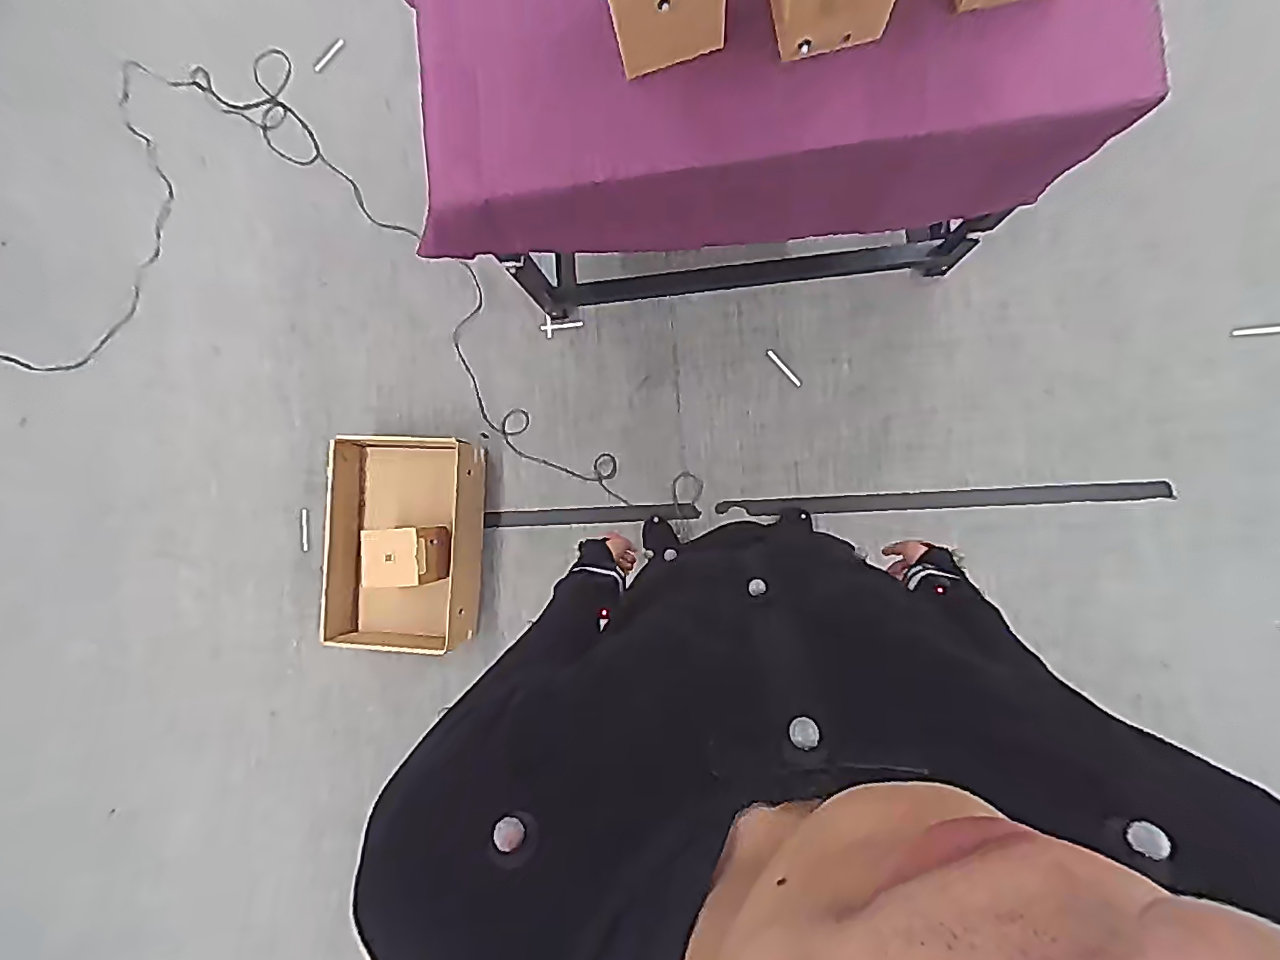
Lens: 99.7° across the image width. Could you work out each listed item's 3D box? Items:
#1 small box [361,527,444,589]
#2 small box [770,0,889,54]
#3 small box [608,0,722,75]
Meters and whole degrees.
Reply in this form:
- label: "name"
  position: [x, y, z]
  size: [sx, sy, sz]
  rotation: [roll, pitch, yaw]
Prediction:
- label: "small box"
  position: [-0.696, 0.228, 1.604]
  size: [0.179, 0.176, 0.168]
  rotation: [-3, 86, 7]
- label: "small box"
  position: [0.295, -0.804, 0.831]
  size: [0.168, 0.176, 0.179]
  rotation: [-9, 86, 6]
- label: "small box"
  position: [0.031, -0.801, 0.863]
  size: [0.179, 0.176, 0.168]
  rotation: [-14, 87, 6]
